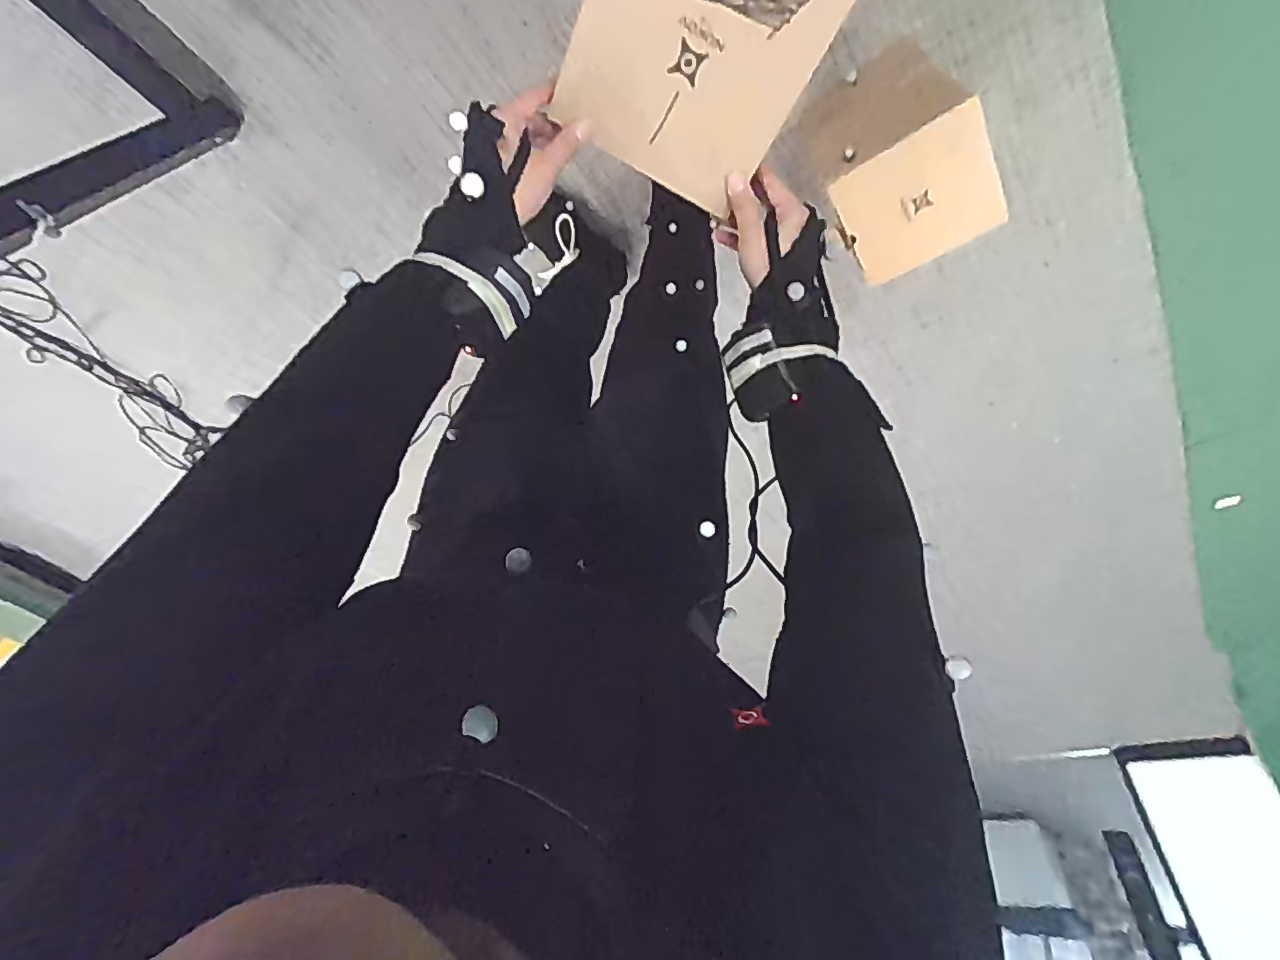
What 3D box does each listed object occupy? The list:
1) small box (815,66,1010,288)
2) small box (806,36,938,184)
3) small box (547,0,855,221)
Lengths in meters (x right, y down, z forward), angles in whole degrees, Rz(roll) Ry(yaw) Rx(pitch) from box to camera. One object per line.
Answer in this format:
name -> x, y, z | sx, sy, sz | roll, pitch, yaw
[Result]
small box -> 0.353, -0.403, 0.722 | 0.179, 0.176, 0.168 | -22, 130, 30
small box -> 0.369, -0.525, 0.830 | 0.179, 0.176, 0.168 | -22, 130, 32
small box -> 0.040, -0.353, 0.435 | 0.168, 0.176, 0.179 | 21, 130, -16
